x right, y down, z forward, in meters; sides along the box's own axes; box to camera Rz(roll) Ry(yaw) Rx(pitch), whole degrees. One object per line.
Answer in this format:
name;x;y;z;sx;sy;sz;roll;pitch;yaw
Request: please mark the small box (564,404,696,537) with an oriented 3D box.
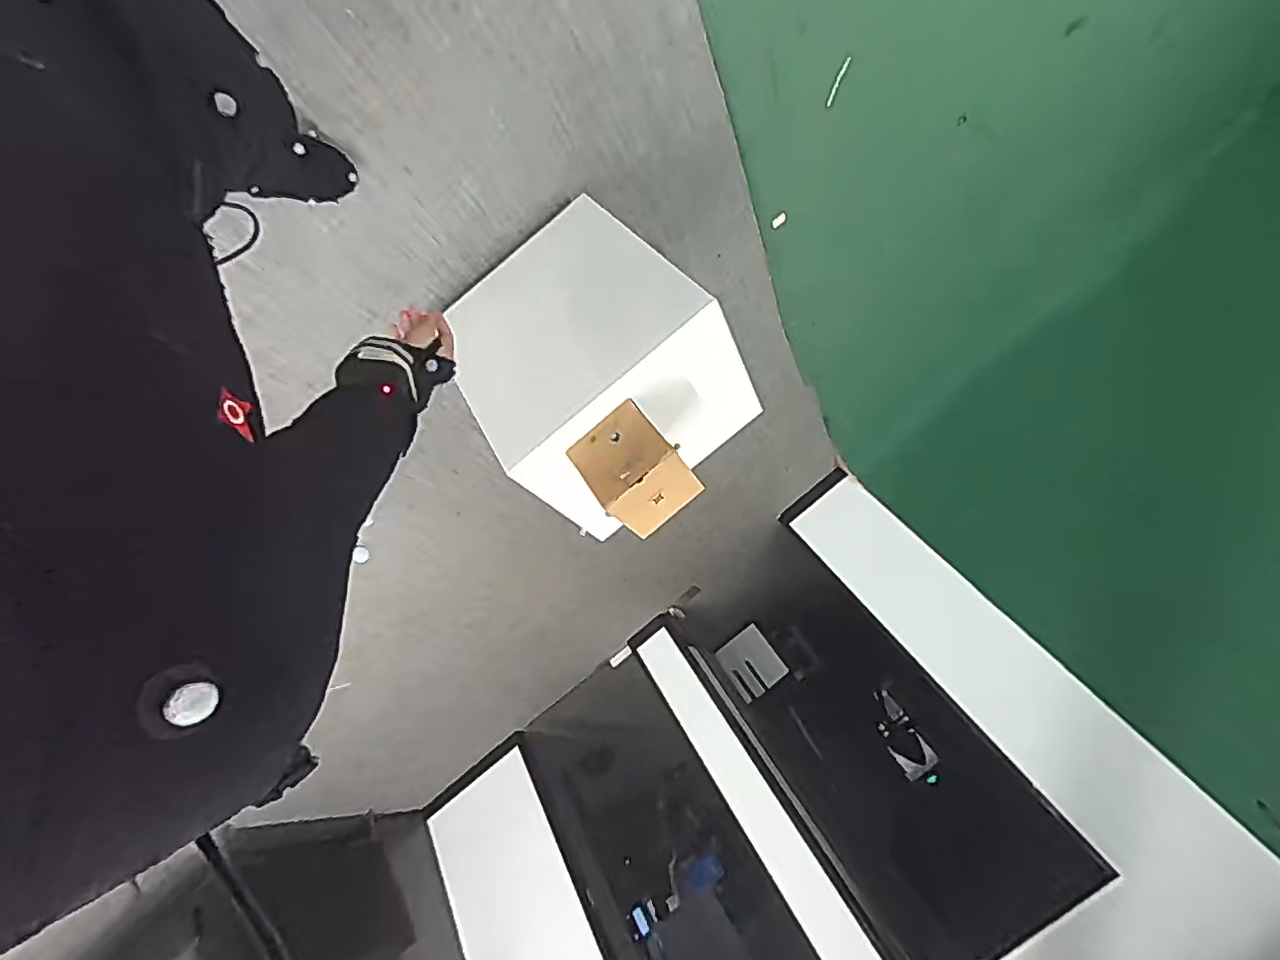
small box;-0.020;-0.020;1.076;0.168;0.176;0.179;-40;146;5
